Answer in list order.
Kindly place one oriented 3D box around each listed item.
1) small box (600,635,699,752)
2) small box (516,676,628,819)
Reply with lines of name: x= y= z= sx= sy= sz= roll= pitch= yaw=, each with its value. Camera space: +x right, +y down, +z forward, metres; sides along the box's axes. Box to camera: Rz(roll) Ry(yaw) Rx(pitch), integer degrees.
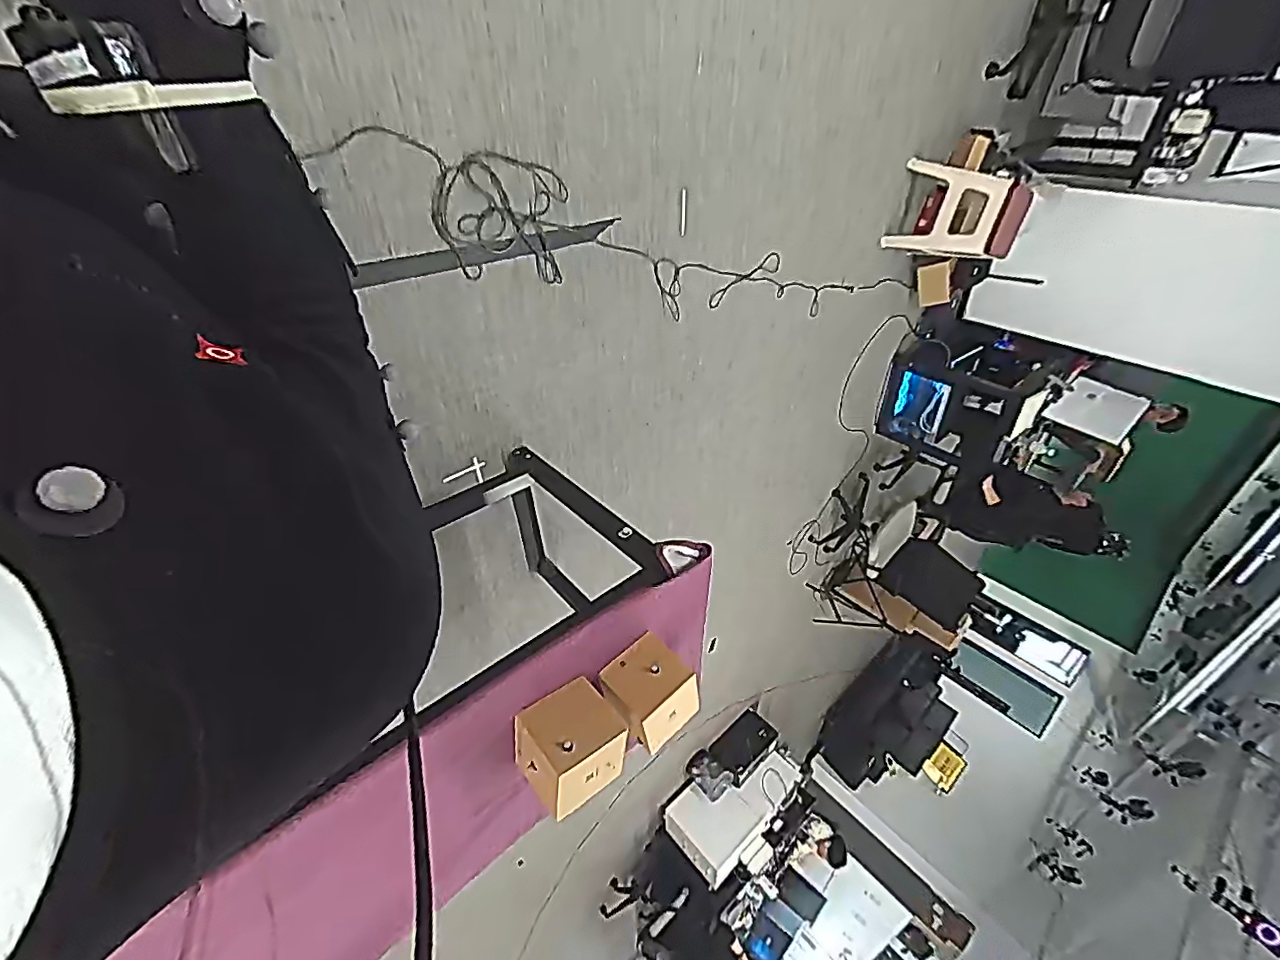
small box: x=0.021 y=0.501 z=1.298 sx=0.168 sy=0.176 sz=0.179 roll=-34 pitch=137 yaw=-26
small box: x=-0.152 y=0.560 z=1.154 sx=0.179 sy=0.176 sz=0.168 roll=-20 pitch=130 yaw=-38
